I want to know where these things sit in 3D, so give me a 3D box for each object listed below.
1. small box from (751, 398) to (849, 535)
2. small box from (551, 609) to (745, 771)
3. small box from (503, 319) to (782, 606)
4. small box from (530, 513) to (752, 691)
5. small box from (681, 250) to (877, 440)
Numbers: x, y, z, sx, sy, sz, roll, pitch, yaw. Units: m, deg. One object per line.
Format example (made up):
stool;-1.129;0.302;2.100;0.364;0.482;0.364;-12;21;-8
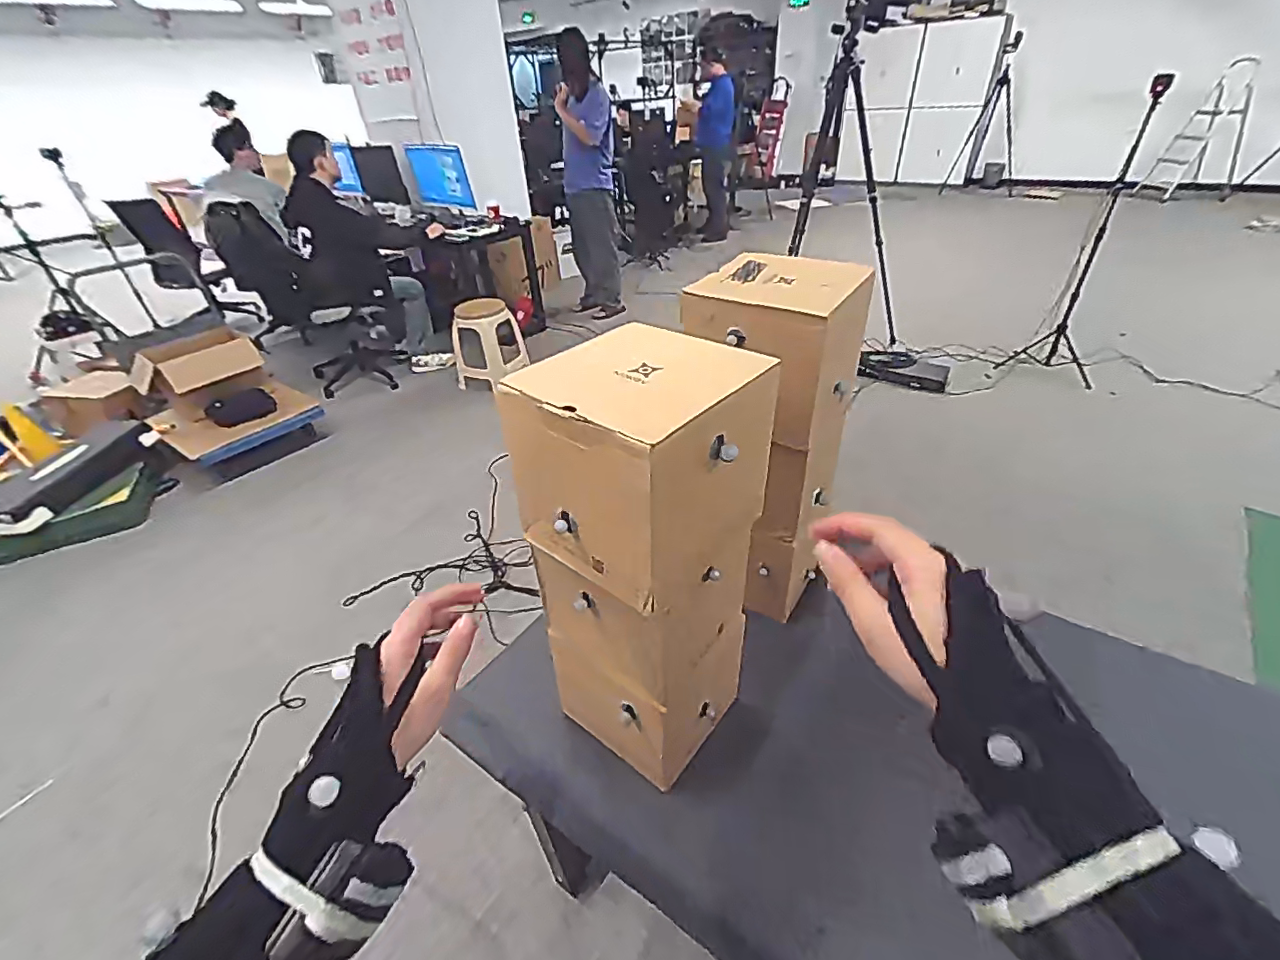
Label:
small box;0.180;-0.047;0.781;0.179;0.176;0.168;20;45;27
small box;0.013;0.233;0.689;0.179;0.176;0.168;24;42;32
small box;0.005;-0.025;0.488;0.168;0.176;0.179;25;44;32
small box;0.006;0.097;0.599;0.179;0.176;0.168;20;41;30
small box;0.167;-0.171;0.673;0.179;0.176;0.168;21;46;29
